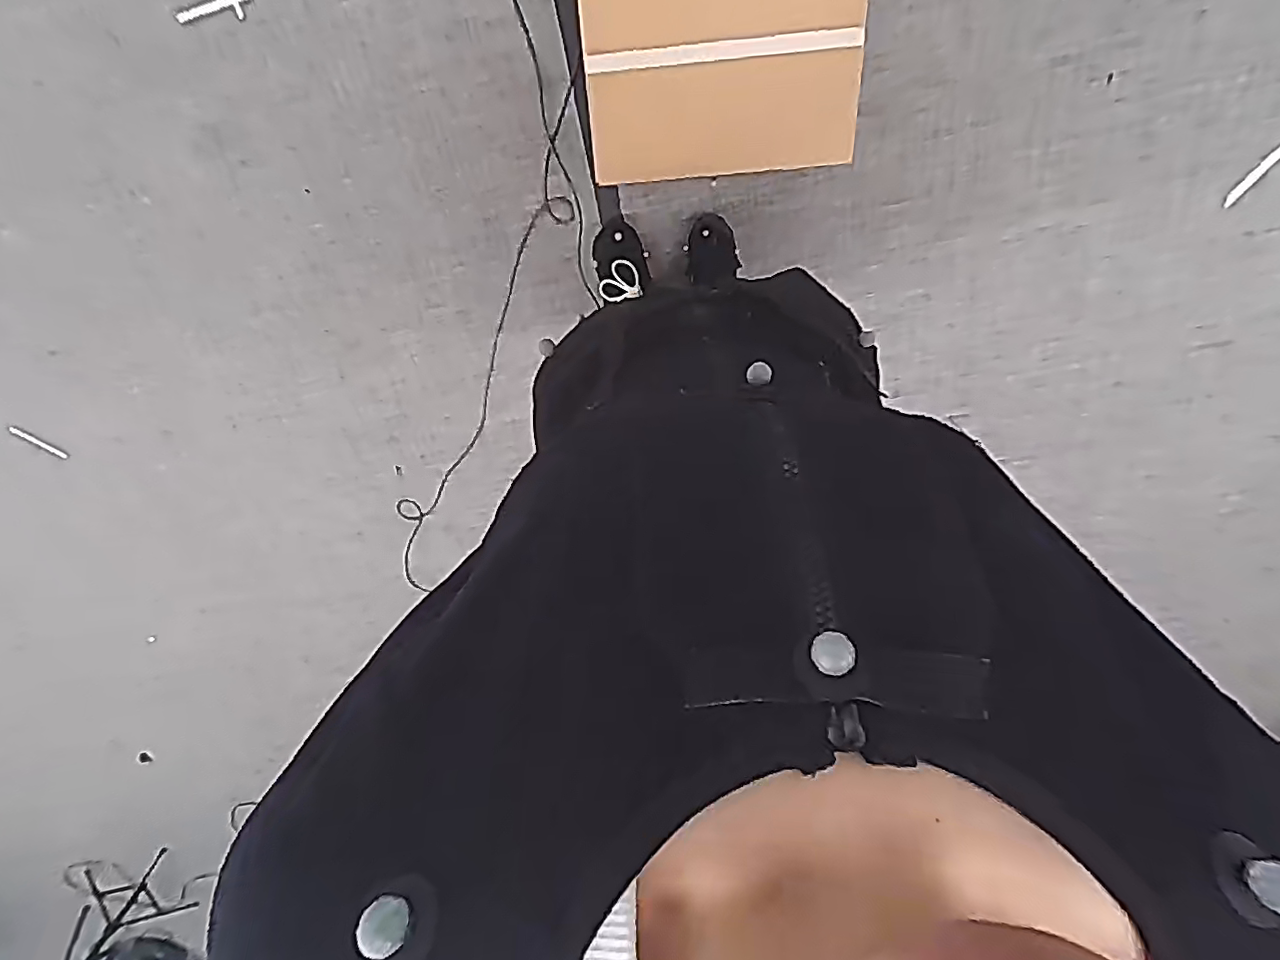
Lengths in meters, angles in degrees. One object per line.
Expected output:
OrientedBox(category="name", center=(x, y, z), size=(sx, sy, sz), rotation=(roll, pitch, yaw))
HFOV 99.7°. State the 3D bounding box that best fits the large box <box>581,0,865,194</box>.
OrientedBox(category="large box", center=(0.123, -0.684, 0.924), size=(0.408, 0.320, 0.320), rotation=(-3, 119, 3))
